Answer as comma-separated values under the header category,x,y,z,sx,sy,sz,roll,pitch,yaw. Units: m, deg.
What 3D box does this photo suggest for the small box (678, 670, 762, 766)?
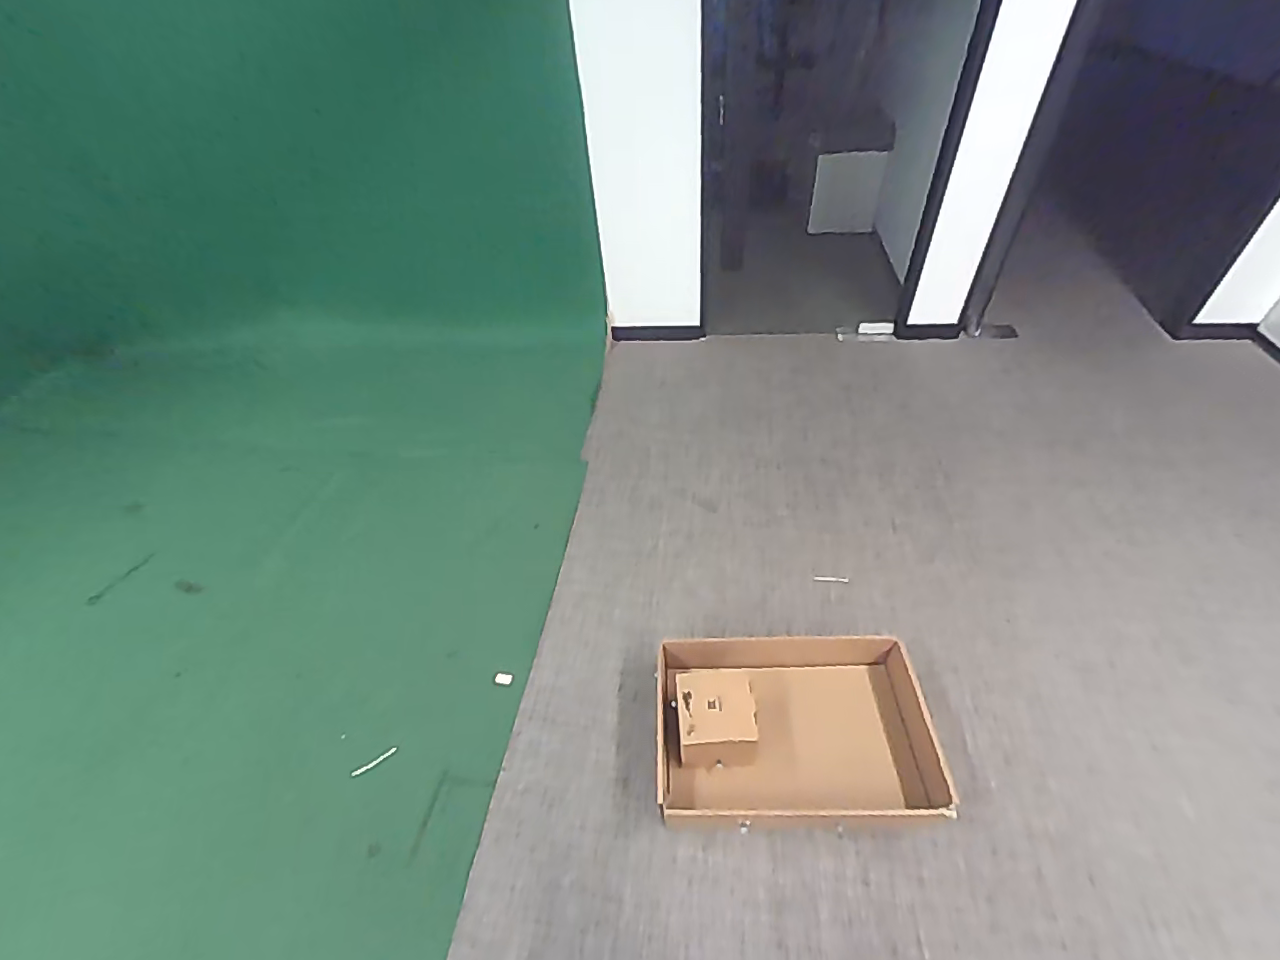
category,x,y,z,sx,sy,sz,roll,pitch,yaw
small box,0.185,0.577,1.309,0.179,0.176,0.168,-3,44,1
